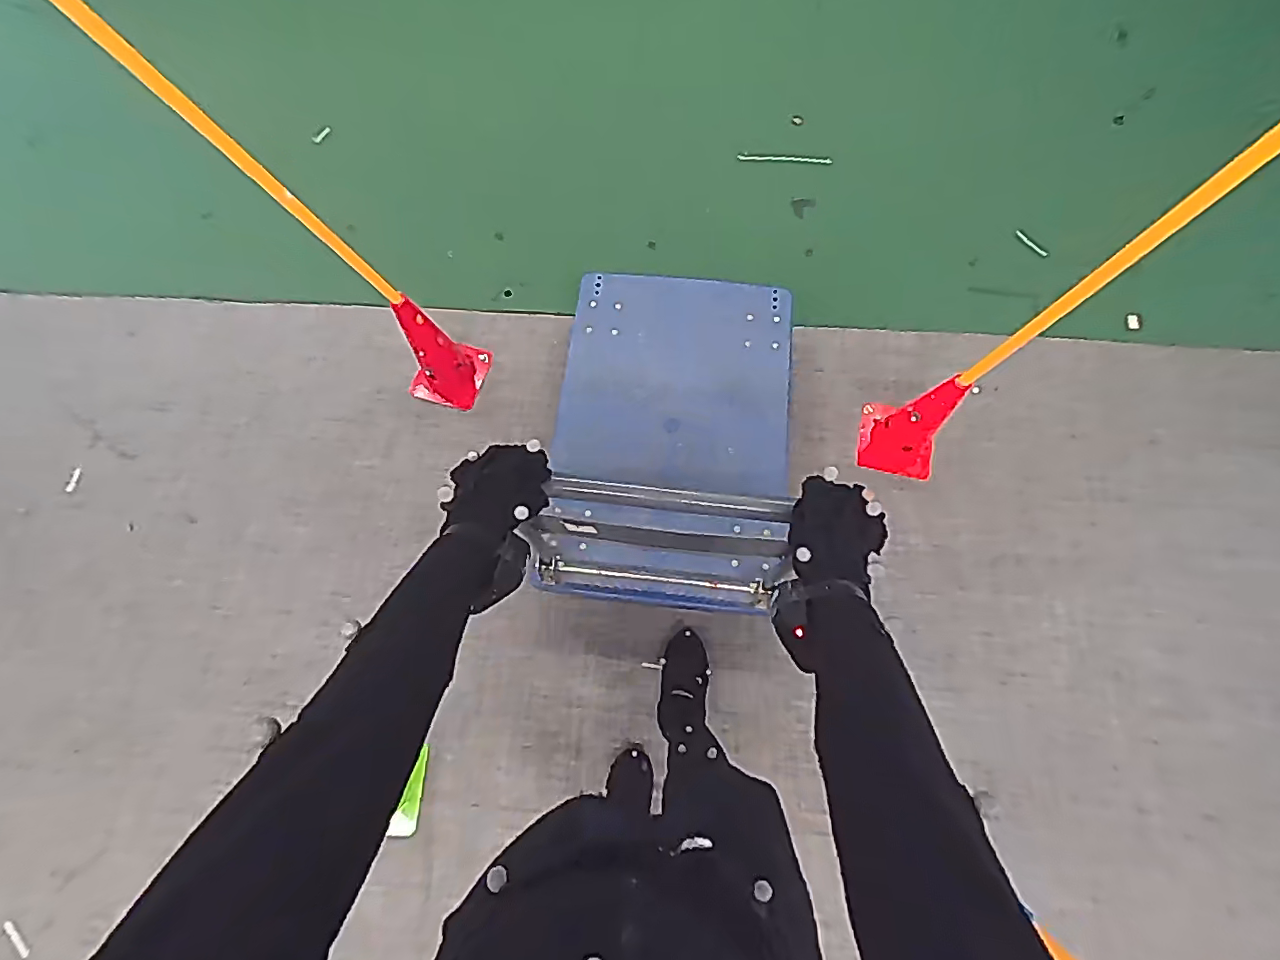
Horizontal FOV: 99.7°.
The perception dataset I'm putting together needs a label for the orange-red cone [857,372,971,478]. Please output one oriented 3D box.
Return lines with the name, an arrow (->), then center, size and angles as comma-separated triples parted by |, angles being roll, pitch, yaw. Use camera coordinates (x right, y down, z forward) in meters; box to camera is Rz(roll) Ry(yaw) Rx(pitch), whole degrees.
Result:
orange-red cone -> 0.708, -0.163, 1.340 | 0.198, 0.360, 0.199 | 14, 74, 6
